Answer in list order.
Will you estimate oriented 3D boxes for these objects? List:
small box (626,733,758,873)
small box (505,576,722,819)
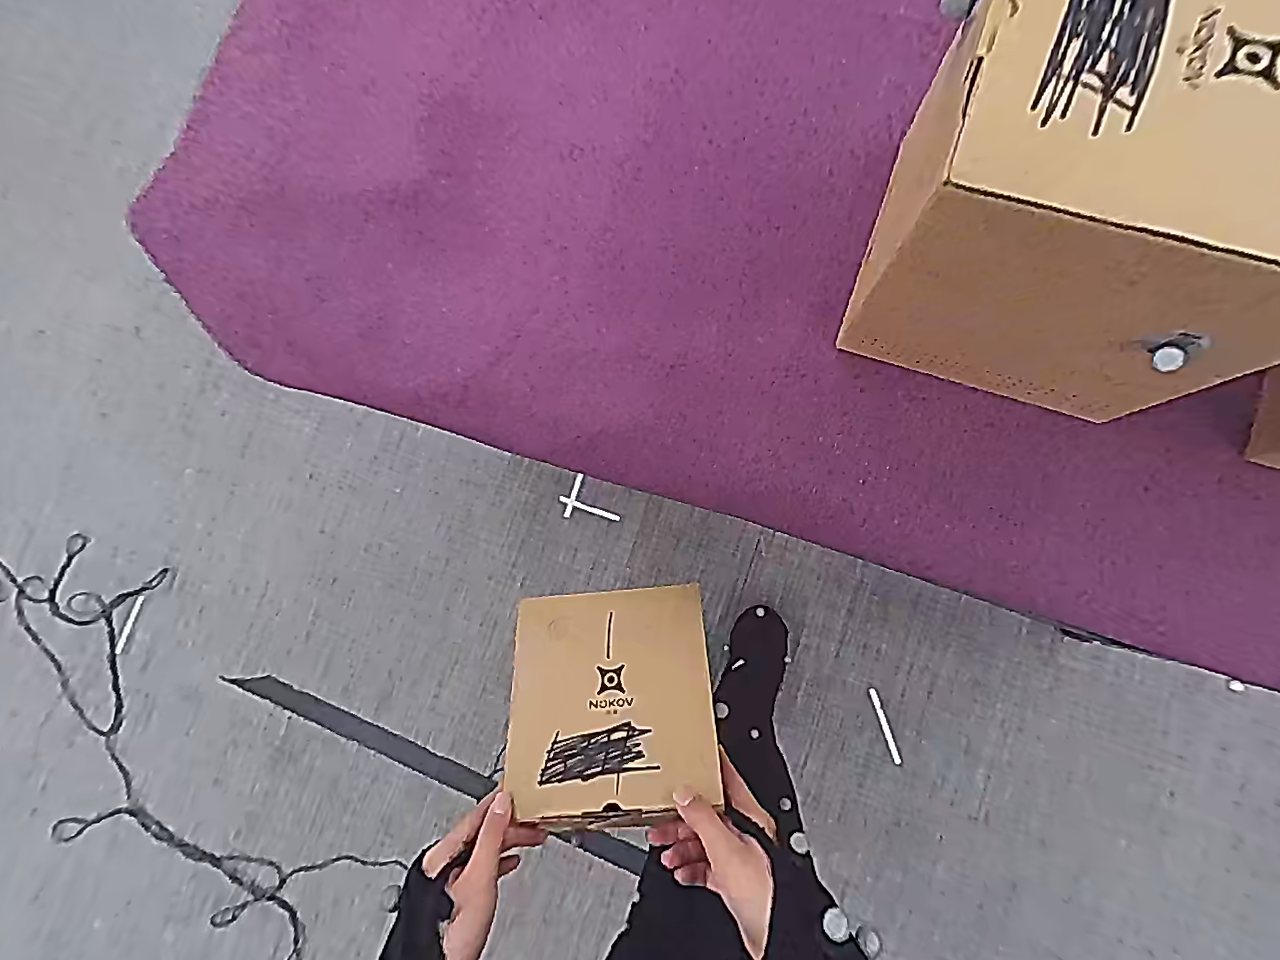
[{"bbox_3d":[0.086,0.539,0.947,0.168,0.176,0.179,42,88,12],"label":"small box"},{"bbox_3d":[-0.016,0.209,0.504,0.168,0.176,0.179,-5,54,2],"label":"small box"}]
